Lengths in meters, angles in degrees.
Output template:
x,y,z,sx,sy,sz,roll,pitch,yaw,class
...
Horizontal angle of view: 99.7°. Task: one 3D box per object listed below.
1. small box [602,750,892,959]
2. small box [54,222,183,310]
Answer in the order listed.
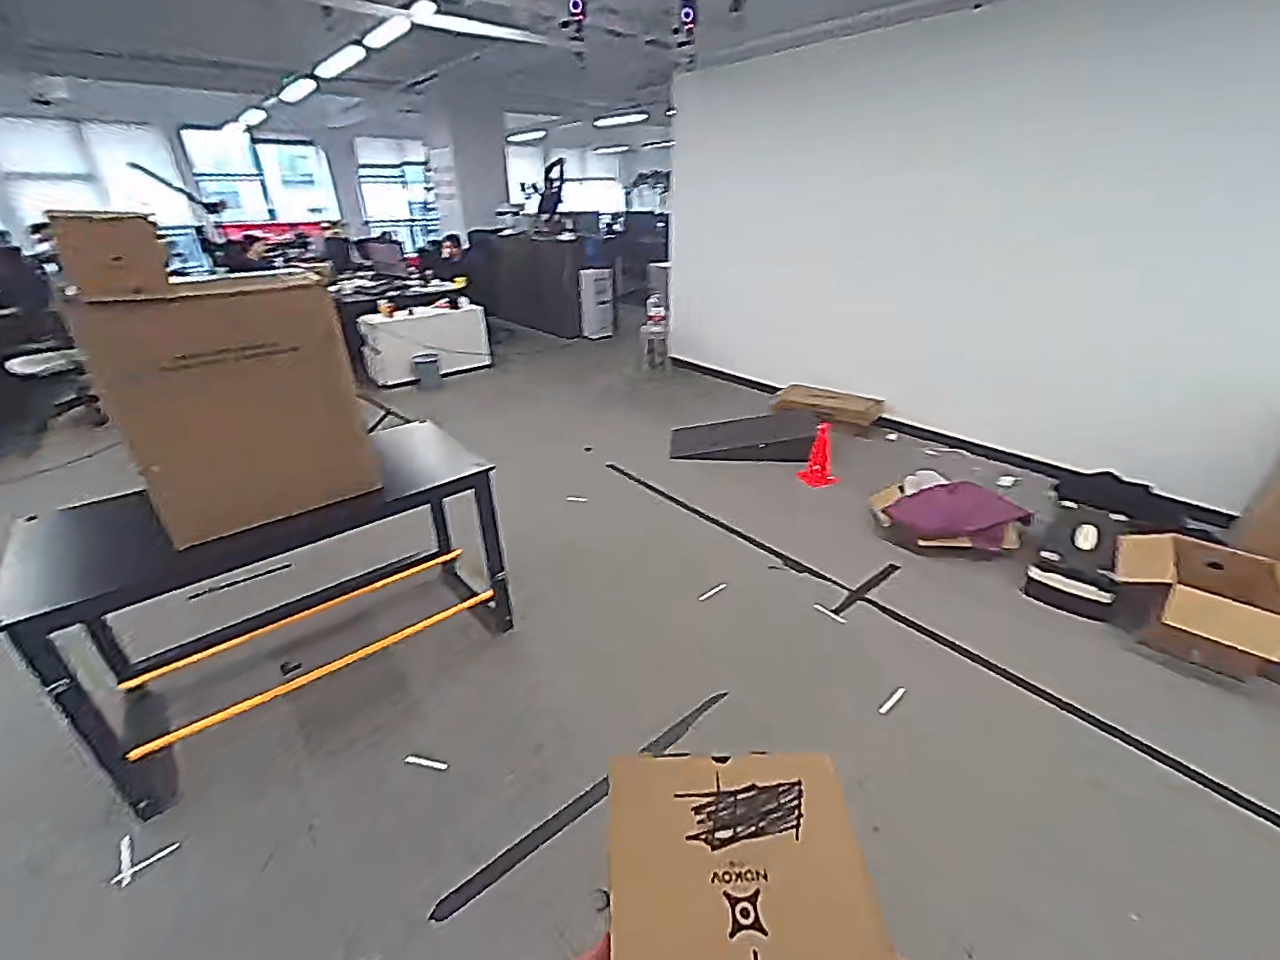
x,y,z,sx,sy,sz,roll,pitch,yaw,class
0.057,0.319,0.379,0.168,0.176,0.179,-1,37,-4,small box
-1.156,-0.477,1.204,0.168,0.176,0.179,-21,36,-39,small box
